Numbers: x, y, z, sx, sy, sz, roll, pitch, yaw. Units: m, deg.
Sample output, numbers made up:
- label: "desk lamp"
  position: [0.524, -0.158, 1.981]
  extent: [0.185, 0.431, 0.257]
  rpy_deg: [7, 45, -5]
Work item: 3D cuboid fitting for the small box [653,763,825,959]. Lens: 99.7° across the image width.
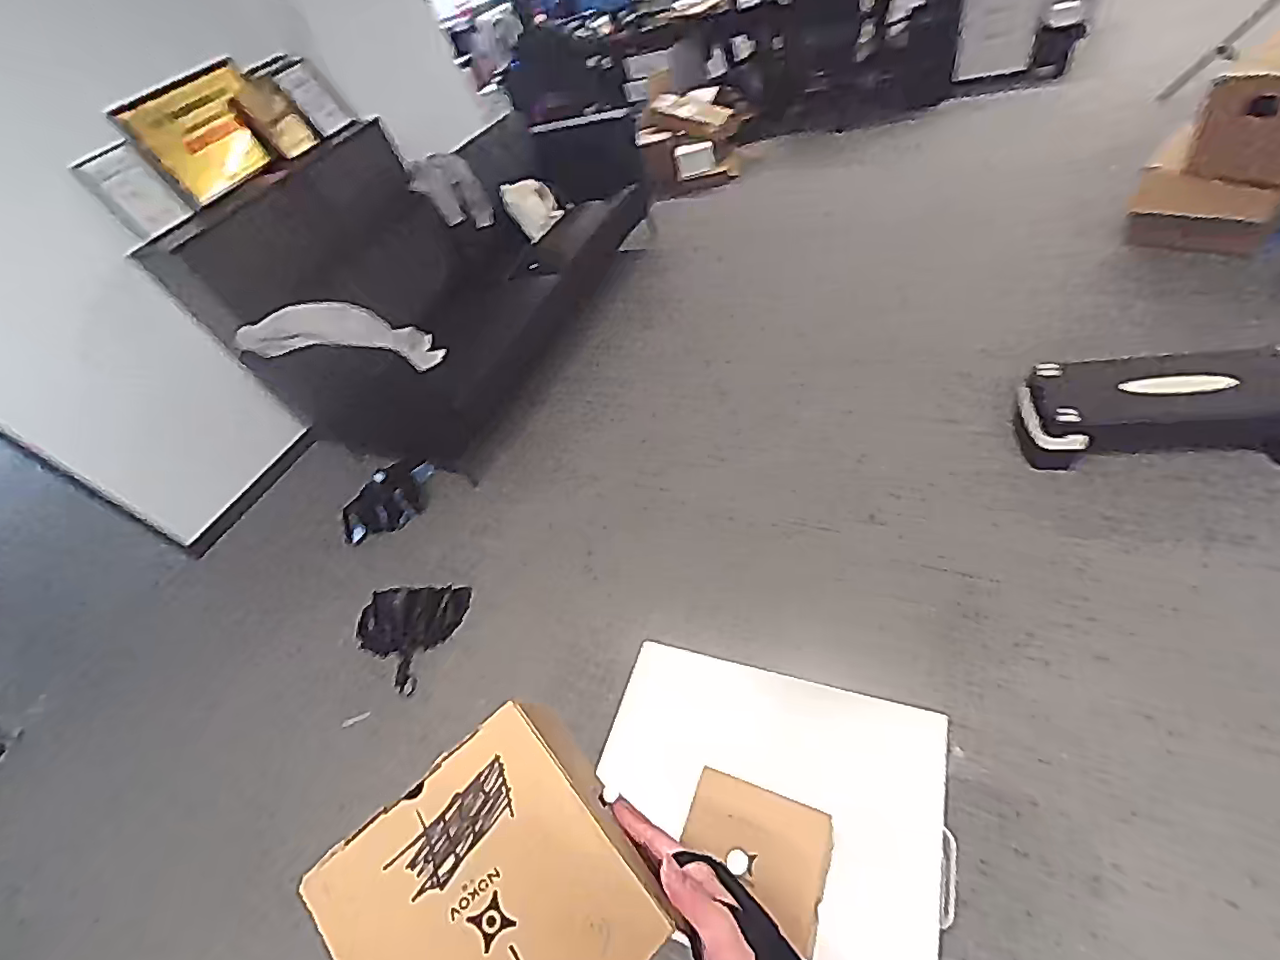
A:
- label: "small box"
  position: [0.139, 0.505, 0.694]
  extent: [0.168, 0.176, 0.179]
  rpy_deg: [9, 52, 26]
